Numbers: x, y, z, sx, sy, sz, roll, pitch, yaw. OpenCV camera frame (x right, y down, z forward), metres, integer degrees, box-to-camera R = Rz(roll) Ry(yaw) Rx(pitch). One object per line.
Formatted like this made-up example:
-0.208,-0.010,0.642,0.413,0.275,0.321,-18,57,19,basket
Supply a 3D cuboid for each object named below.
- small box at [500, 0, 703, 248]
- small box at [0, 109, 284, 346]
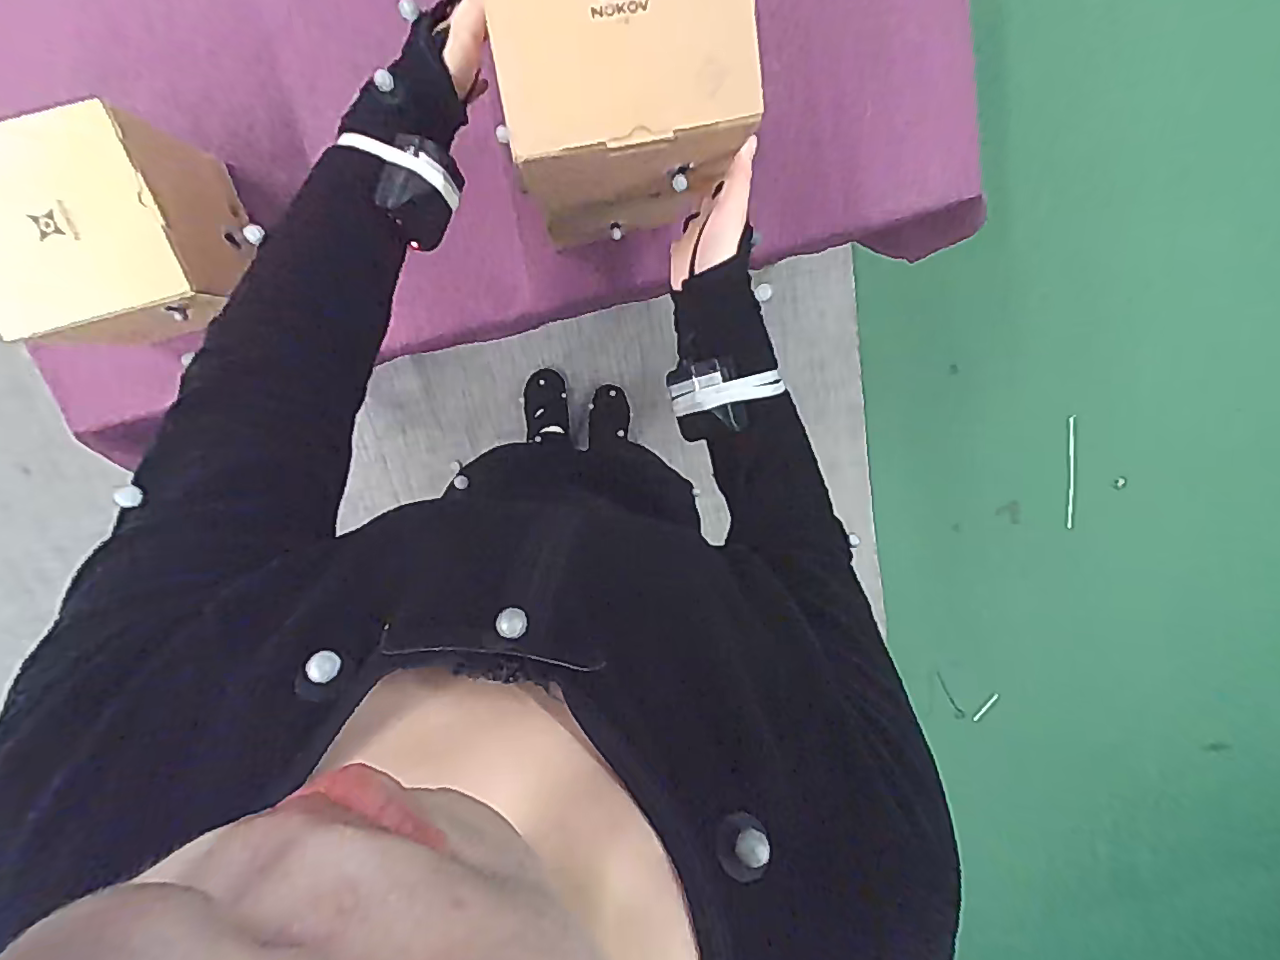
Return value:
-0.040,-0.365,0.591,0.168,0.176,0.179,-14,104,-3,small box
-0.527,-0.243,0.565,0.179,0.176,0.168,-17,104,-3,small box
